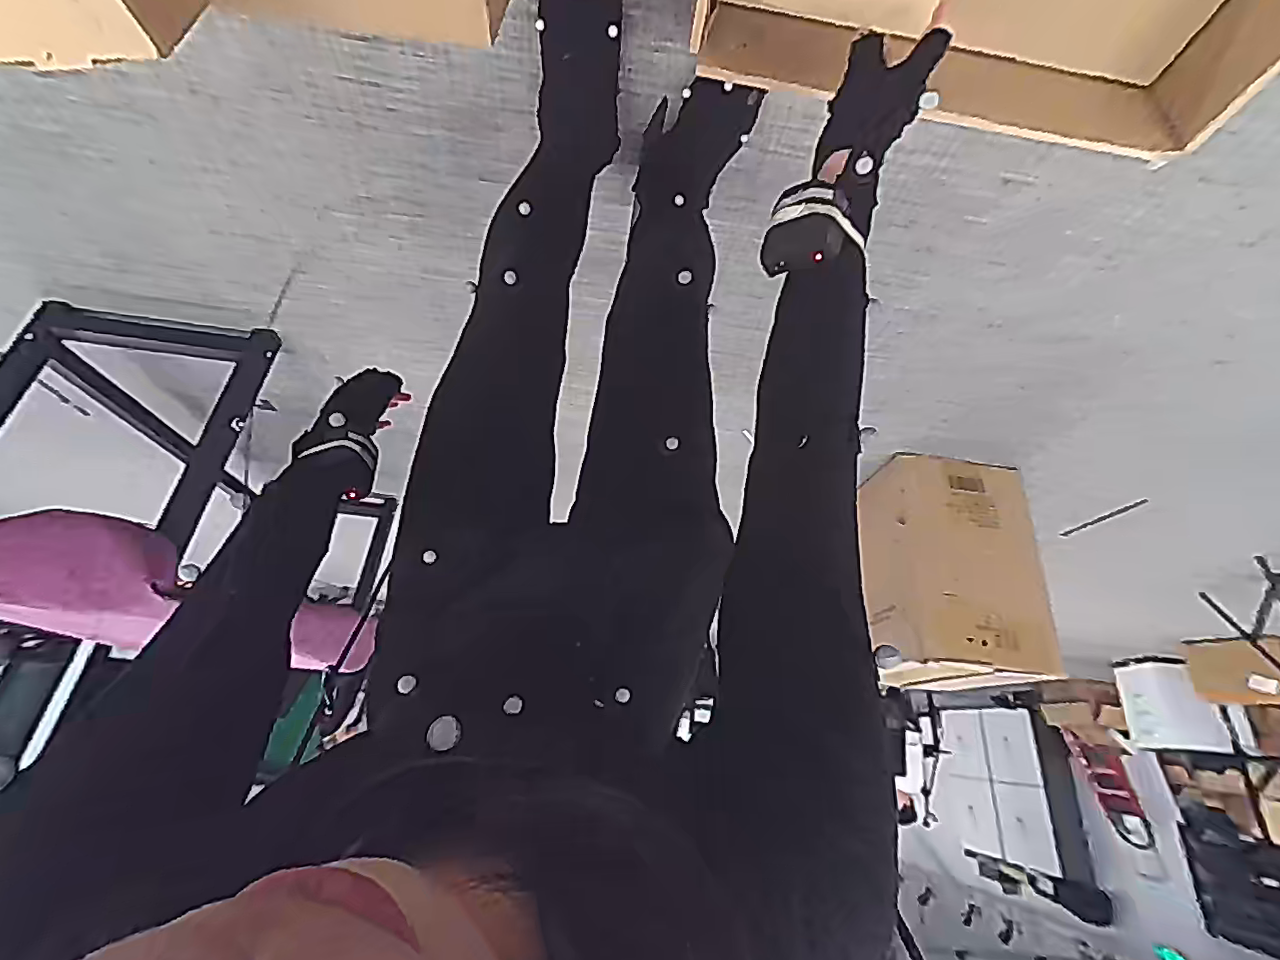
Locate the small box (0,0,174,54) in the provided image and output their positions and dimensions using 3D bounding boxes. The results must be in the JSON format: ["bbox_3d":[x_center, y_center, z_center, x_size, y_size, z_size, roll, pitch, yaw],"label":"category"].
[{"bbox_3d":[-0.410,-0.412,0.338,0.168,0.176,0.179,1,153,5],"label":"small box"}]

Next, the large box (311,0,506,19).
[{"bbox_3d":[-0.301,-0.634,0.415,0.408,0.320,0.320,6,156,-1],"label":"large box"}]

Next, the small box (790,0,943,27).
[{"bbox_3d":[0.216,-0.563,0.489,0.179,0.176,0.168,6,153,-5],"label":"small box"}]
